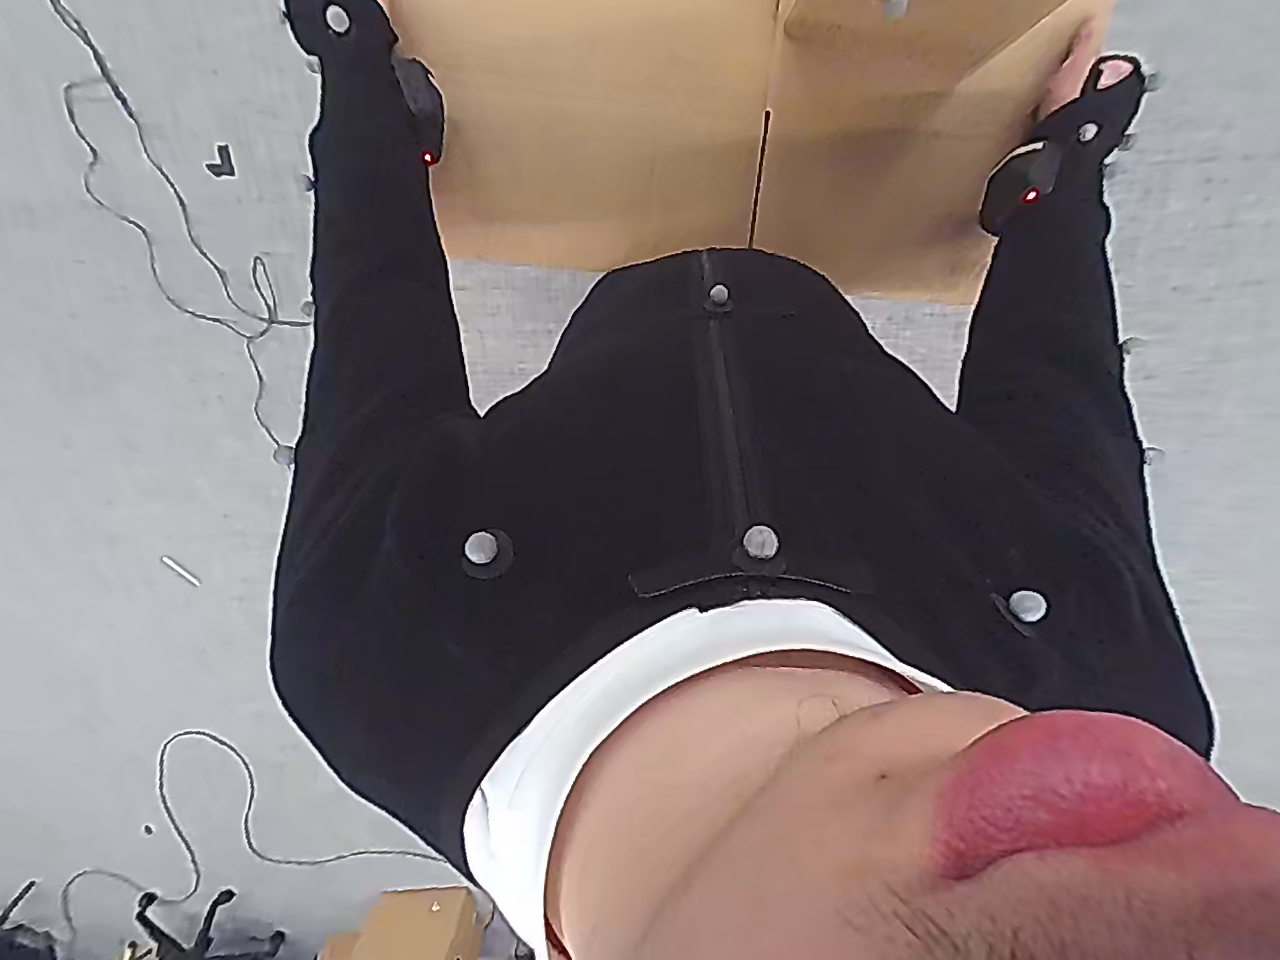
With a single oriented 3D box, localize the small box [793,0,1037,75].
[{"bbox_3d":[0.235,-0.450,0.410,0.179,0.176,0.168,15,107,-2],"label":"small box"}]
